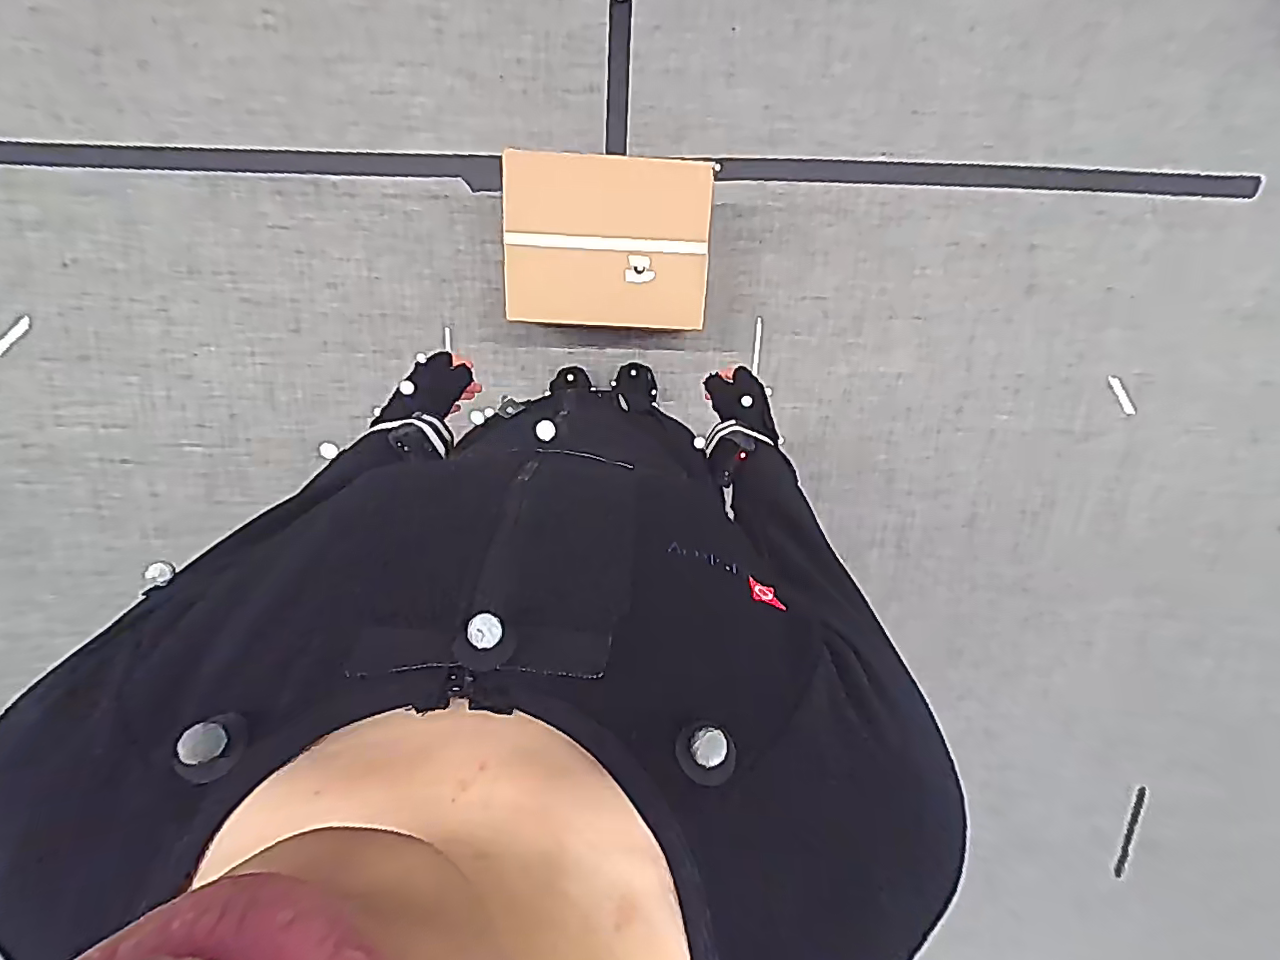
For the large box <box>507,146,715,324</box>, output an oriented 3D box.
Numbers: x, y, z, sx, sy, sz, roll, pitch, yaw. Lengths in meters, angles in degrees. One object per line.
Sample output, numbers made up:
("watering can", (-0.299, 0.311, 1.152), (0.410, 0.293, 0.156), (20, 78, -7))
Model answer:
("large box", (-0.066, -0.516, 1.211), (0.408, 0.320, 0.320), (2, 106, -3))
